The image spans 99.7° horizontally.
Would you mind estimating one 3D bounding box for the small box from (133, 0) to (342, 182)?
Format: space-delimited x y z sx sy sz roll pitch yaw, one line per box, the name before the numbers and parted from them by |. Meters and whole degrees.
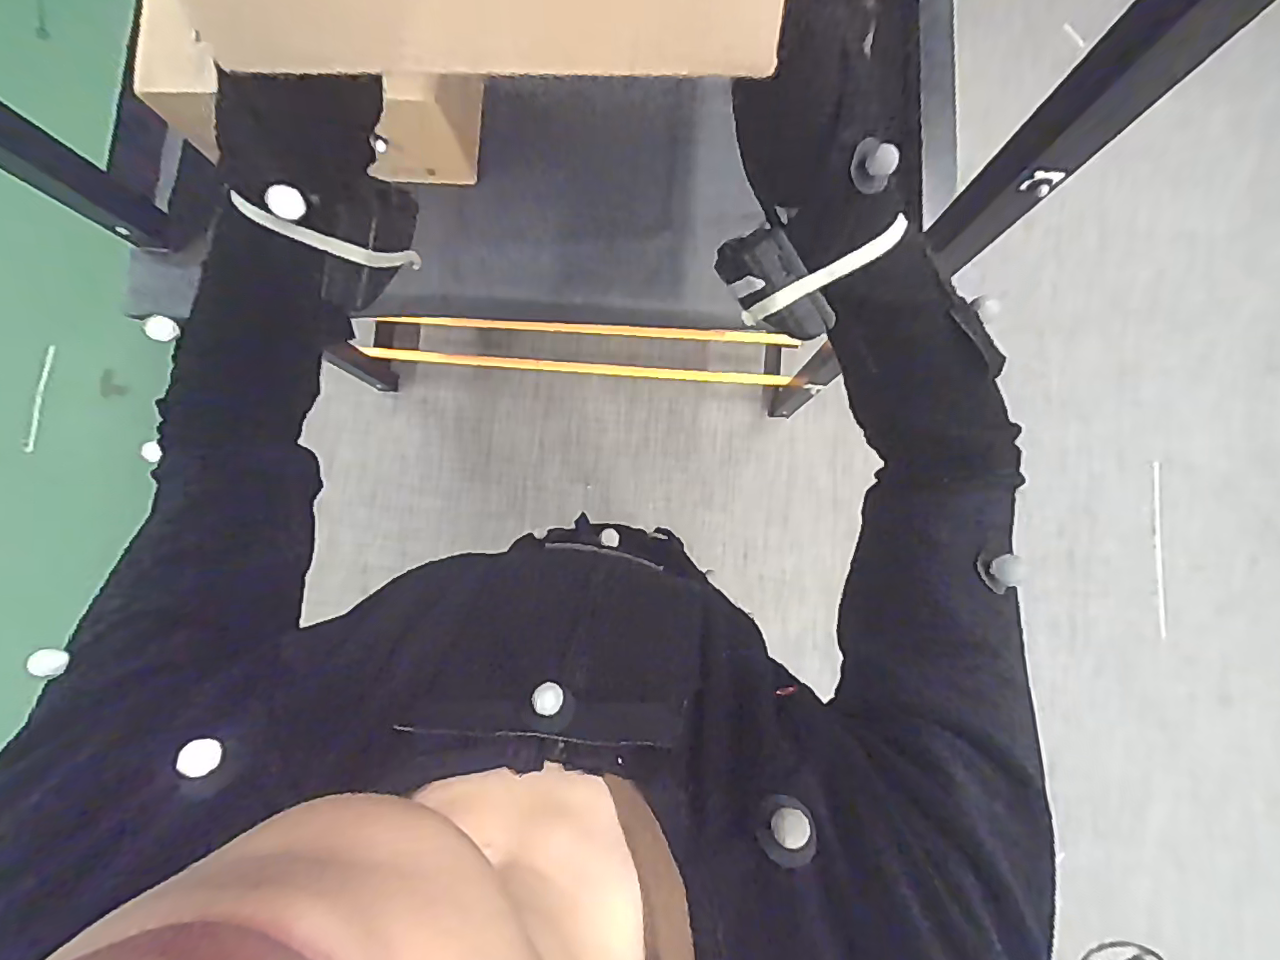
small box | -0.550 -0.560 0.765 0.168 0.176 0.179 1 84 1
